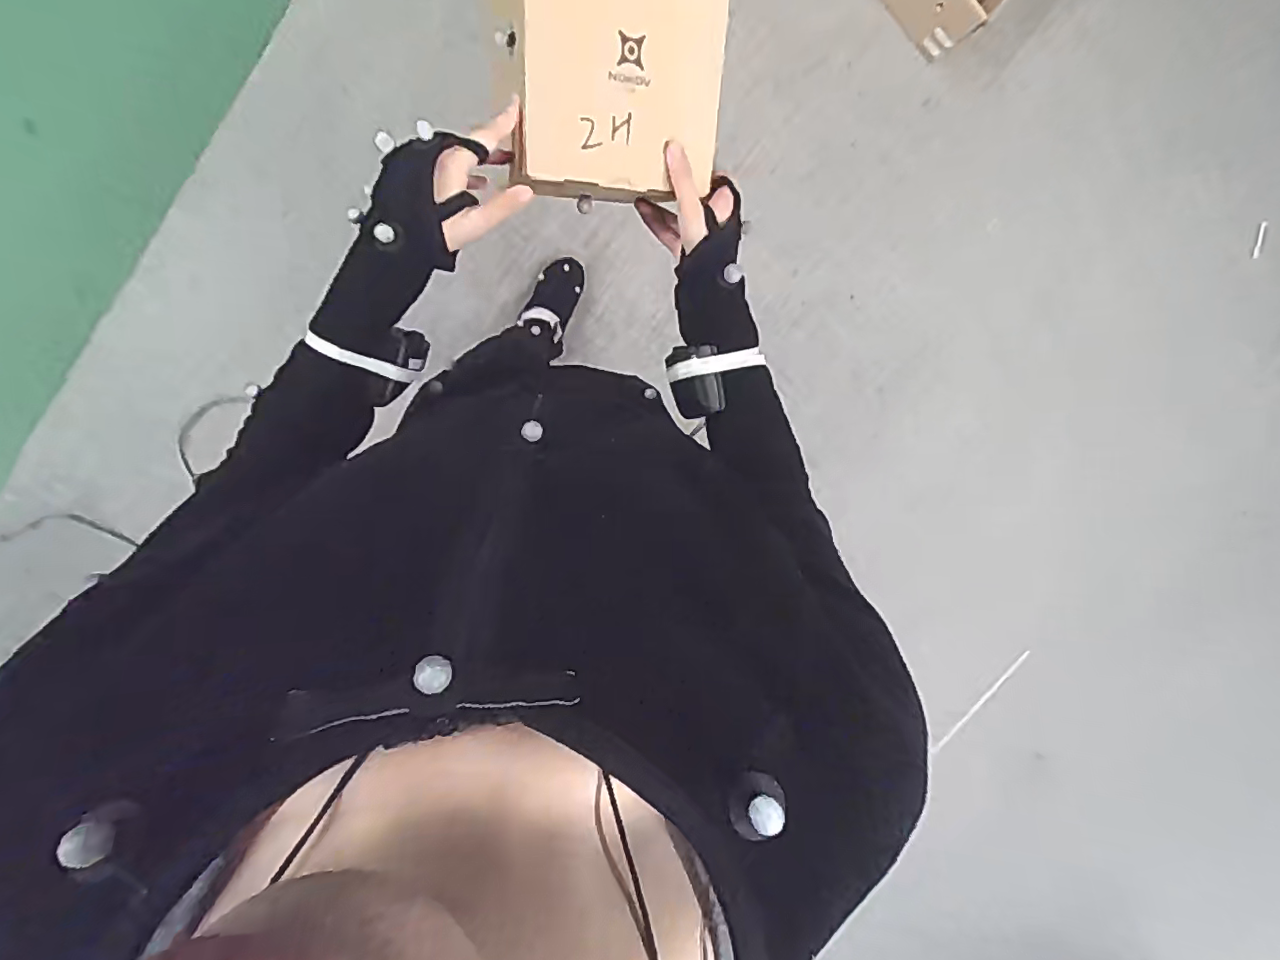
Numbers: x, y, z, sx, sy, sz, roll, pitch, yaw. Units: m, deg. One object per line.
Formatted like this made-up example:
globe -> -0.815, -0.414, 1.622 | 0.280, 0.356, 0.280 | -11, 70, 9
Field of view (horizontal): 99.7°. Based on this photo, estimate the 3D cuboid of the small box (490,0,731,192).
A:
small box -> -0.039, -0.366, 0.478 | 0.168, 0.176, 0.179 | -4, 116, -22
